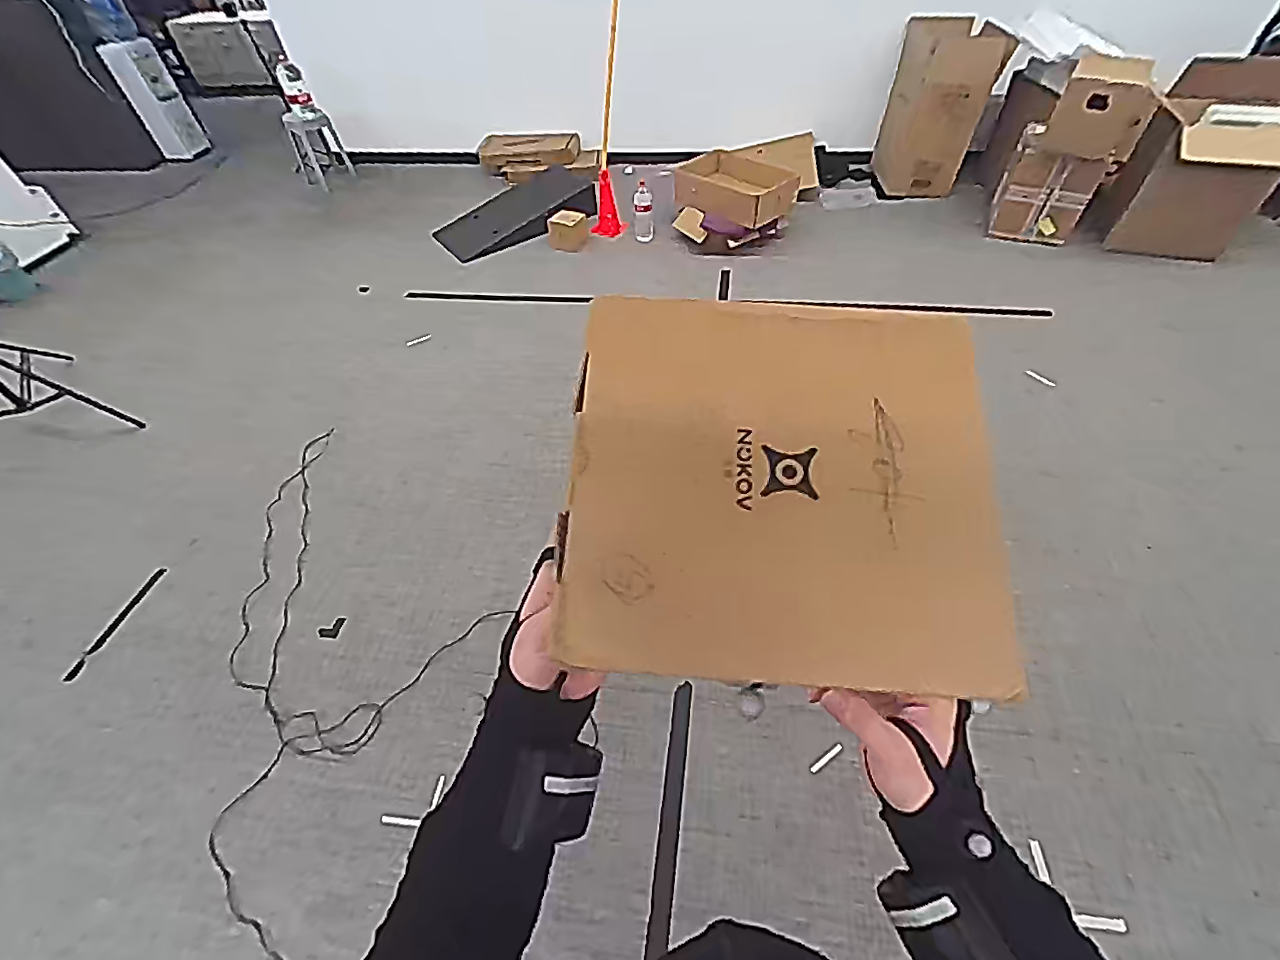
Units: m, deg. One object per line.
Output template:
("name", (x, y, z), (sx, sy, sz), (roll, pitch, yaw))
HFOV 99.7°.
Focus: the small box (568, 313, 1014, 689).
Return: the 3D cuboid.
("small box", (0.061, 0.027, 0.310), (0.179, 0.176, 0.168), (3, 71, -1))
